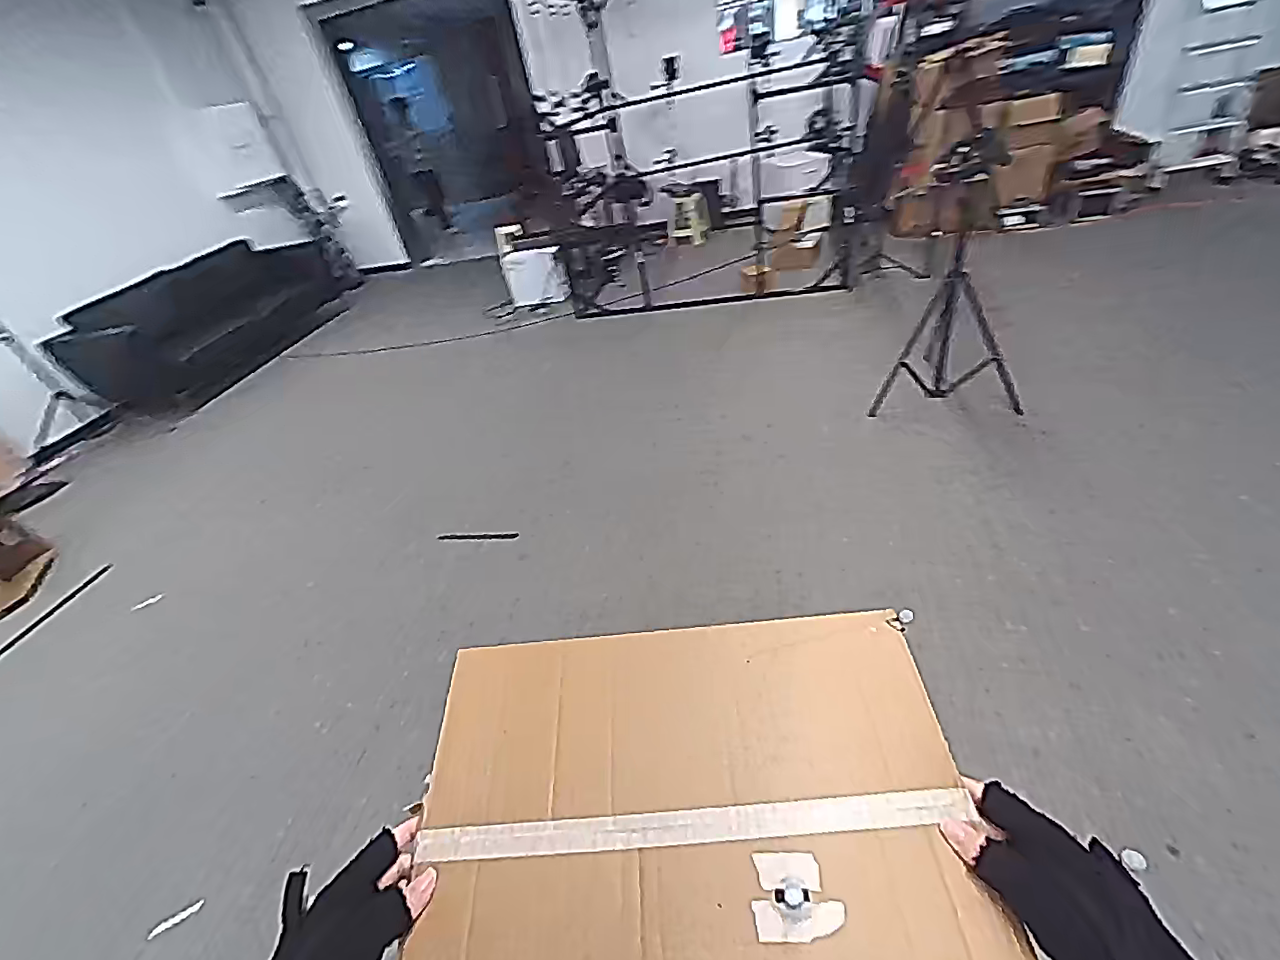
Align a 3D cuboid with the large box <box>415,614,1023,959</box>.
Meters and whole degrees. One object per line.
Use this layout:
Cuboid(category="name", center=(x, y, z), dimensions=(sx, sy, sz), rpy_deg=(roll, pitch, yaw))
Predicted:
Cuboid(category="large box", center=(0.052, 0.361, 0.514), dimensions=(0.408, 0.320, 0.320), rpy_deg=(-7, 47, 2))
